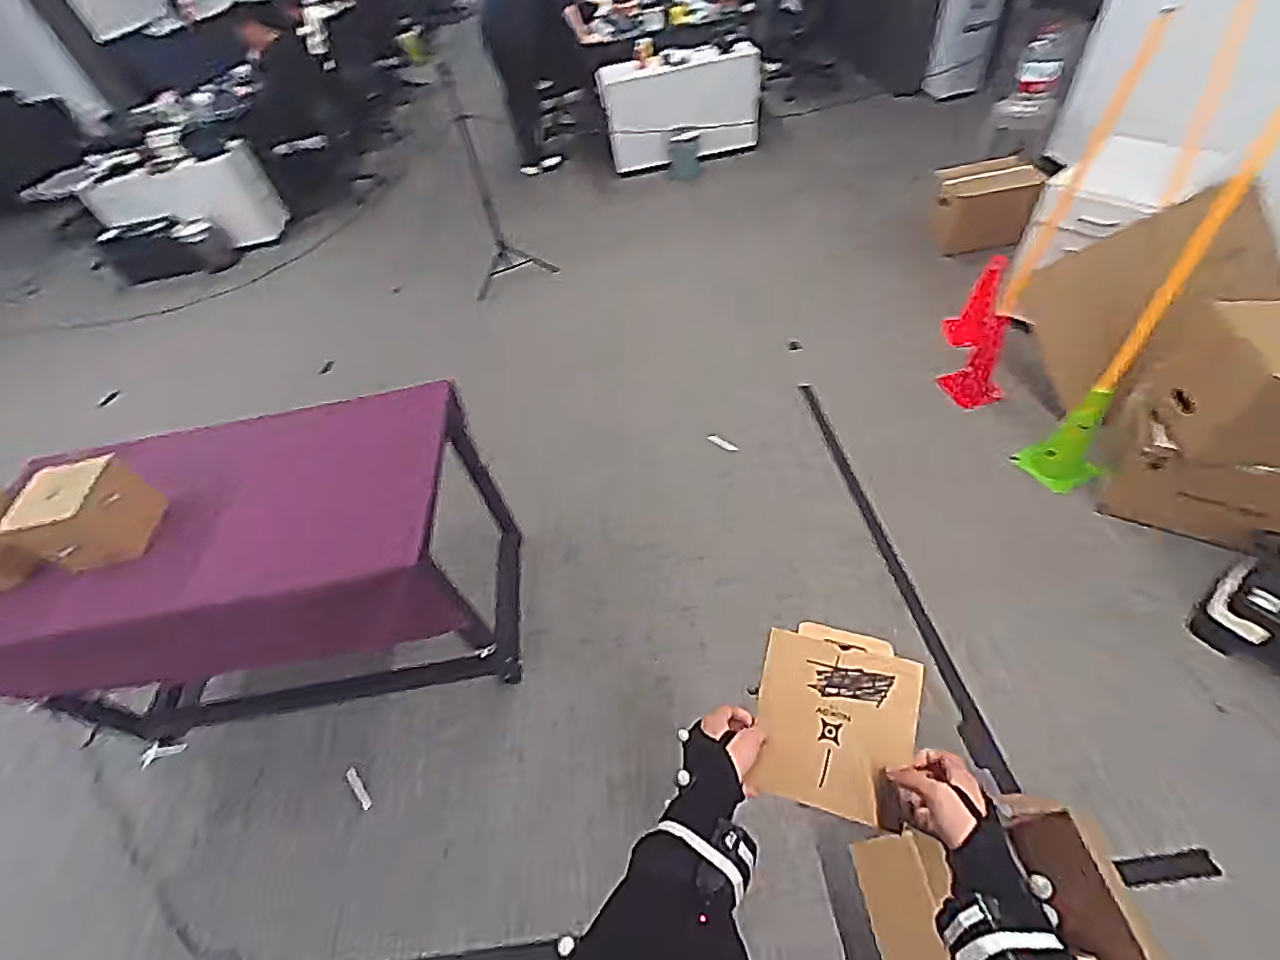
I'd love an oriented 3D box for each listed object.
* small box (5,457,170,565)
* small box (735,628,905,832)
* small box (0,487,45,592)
[{"bbox_3d":[-1.234,0.078,1.228,0.168,0.176,0.179,-11,50,0],"label":"small box"},{"bbox_3d":[0.215,0.302,0.677,0.168,0.176,0.179,10,69,15],"label":"small box"},{"bbox_3d":[-1.501,0.144,1.220,0.168,0.176,0.179,-13,49,-1],"label":"small box"}]
